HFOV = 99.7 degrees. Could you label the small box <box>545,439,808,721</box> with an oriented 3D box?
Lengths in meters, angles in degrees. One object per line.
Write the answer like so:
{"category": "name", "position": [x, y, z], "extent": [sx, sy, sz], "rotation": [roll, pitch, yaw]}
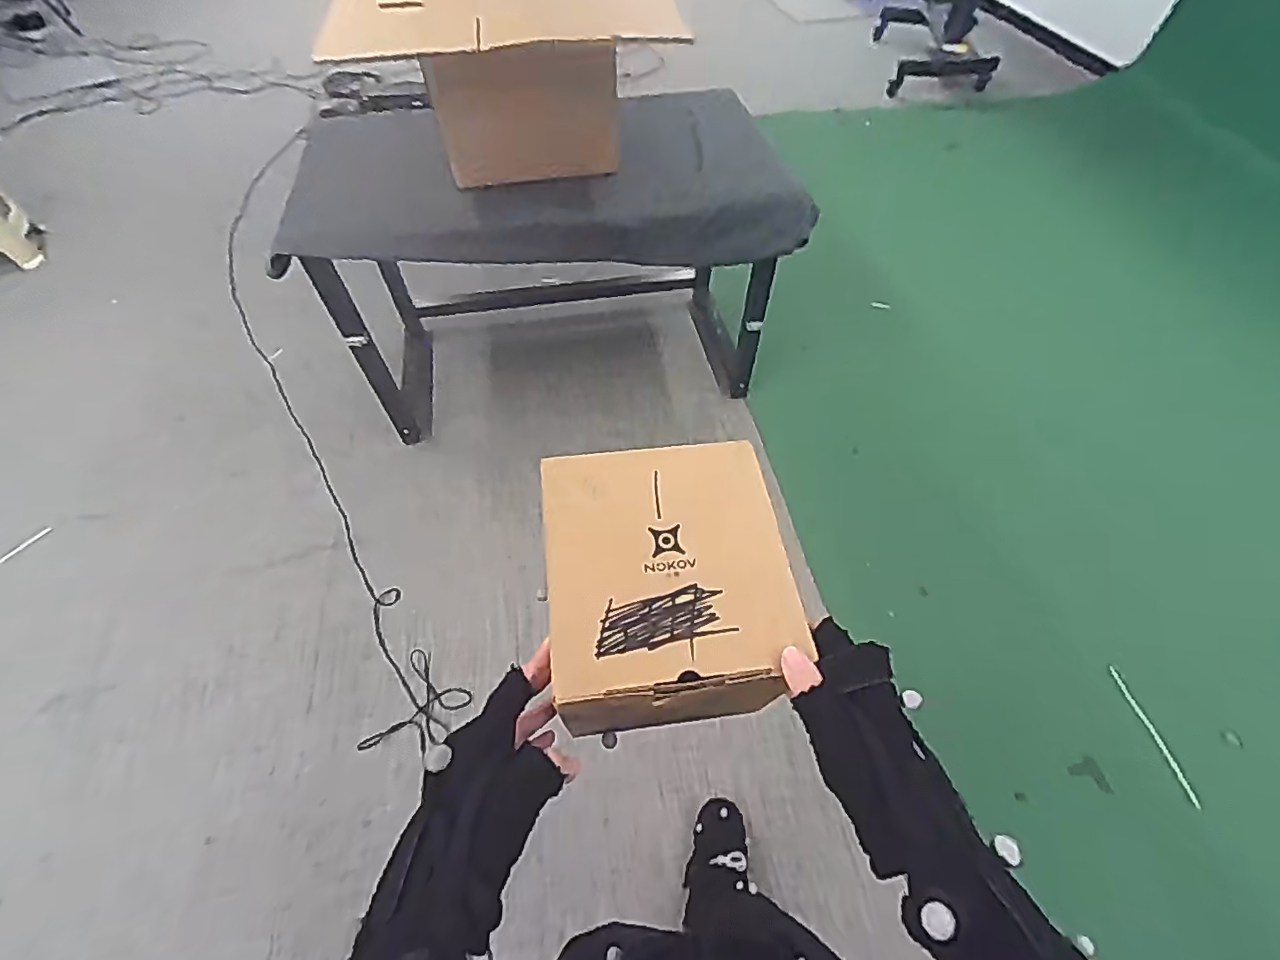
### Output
{"category": "small box", "position": [0.016, 0.091, 0.447], "extent": [0.168, 0.176, 0.179], "rotation": [-6, 57, -6]}
